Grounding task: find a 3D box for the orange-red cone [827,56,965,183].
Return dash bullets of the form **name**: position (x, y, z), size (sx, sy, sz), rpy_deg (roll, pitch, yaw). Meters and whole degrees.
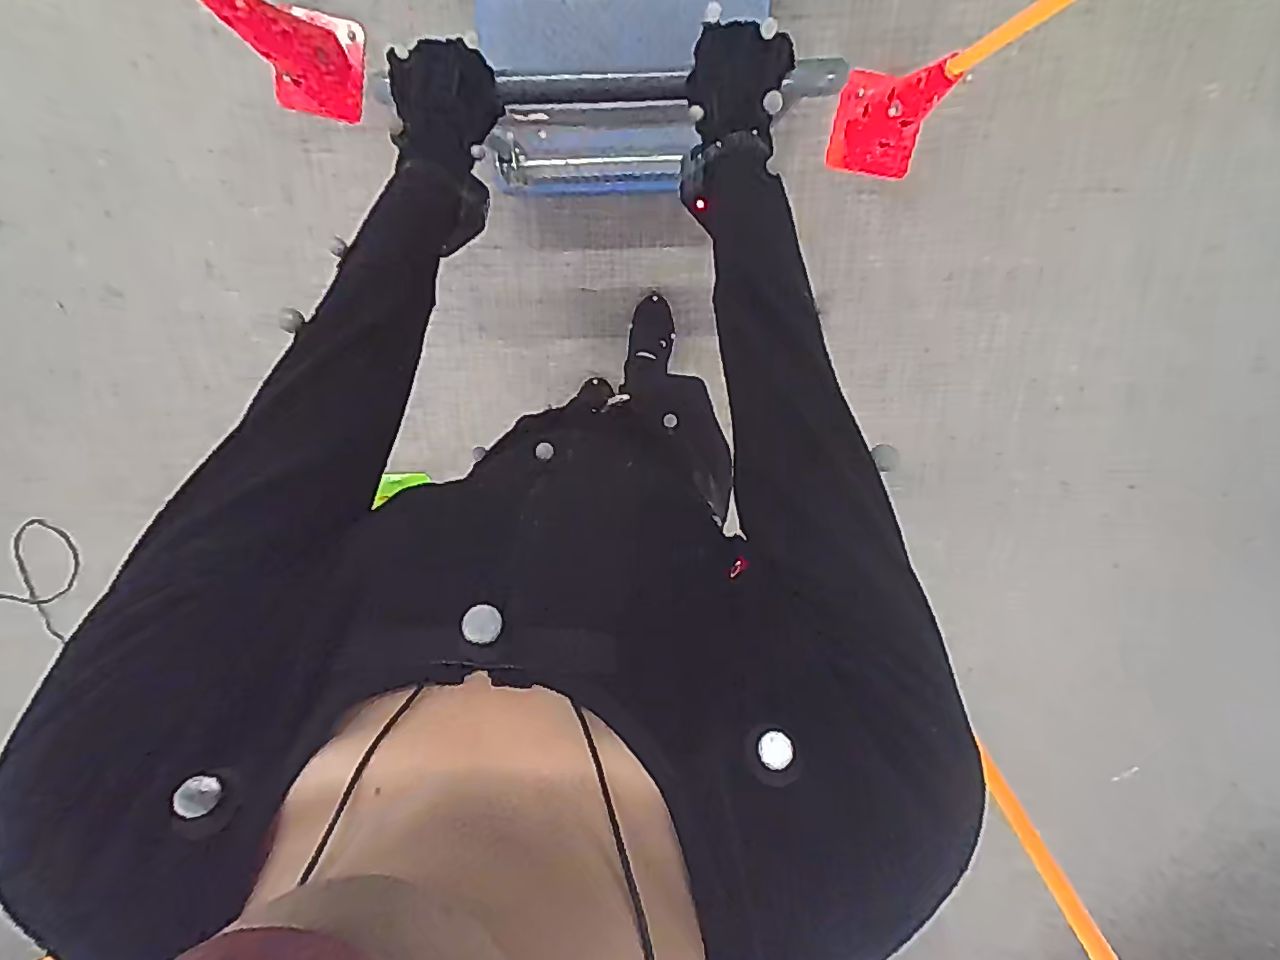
- **orange-red cone**: position (0.544, -0.756, 1.088), size (0.198, 0.360, 0.199), rpy_deg (11, 109, -2)
